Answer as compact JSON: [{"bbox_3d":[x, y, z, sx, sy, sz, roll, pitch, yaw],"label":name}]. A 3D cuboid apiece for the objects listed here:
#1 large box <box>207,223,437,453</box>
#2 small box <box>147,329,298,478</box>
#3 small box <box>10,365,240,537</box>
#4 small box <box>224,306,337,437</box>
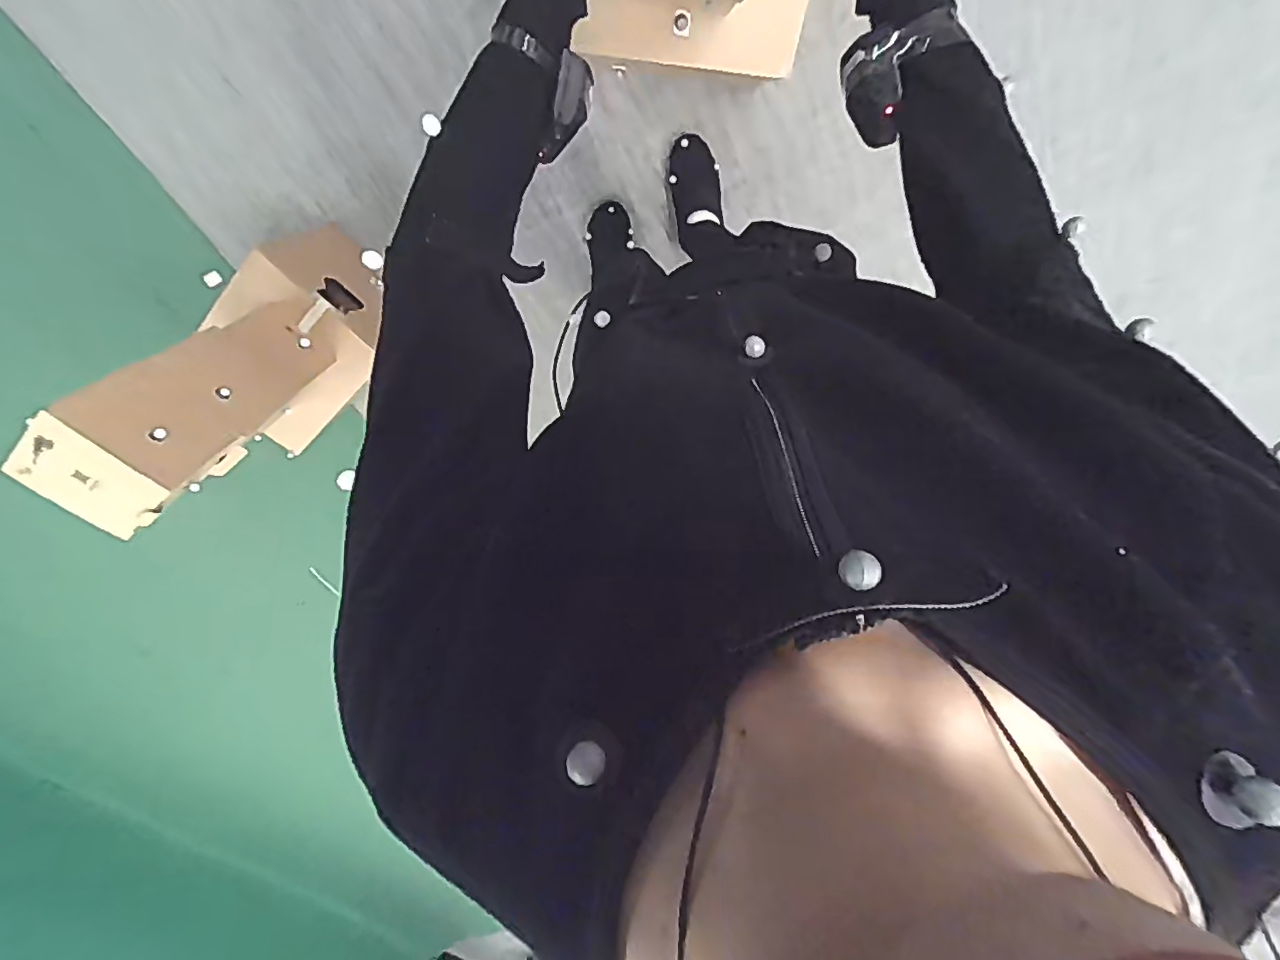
[{"bbox_3d":[-0.785,-0.351,1.339,0.408,0.320,0.320,-35,115,25],"label":"large box"},{"bbox_3d":[-0.779,-0.142,0.986,0.168,0.176,0.179,-30,118,22],"label":"small box"},{"bbox_3d":[-0.791,-0.049,0.851,0.168,0.176,0.179,-32,119,22],"label":"small box"},{"bbox_3d":[-0.777,-0.227,1.126,0.179,0.176,0.168,-32,118,22],"label":"small box"}]
